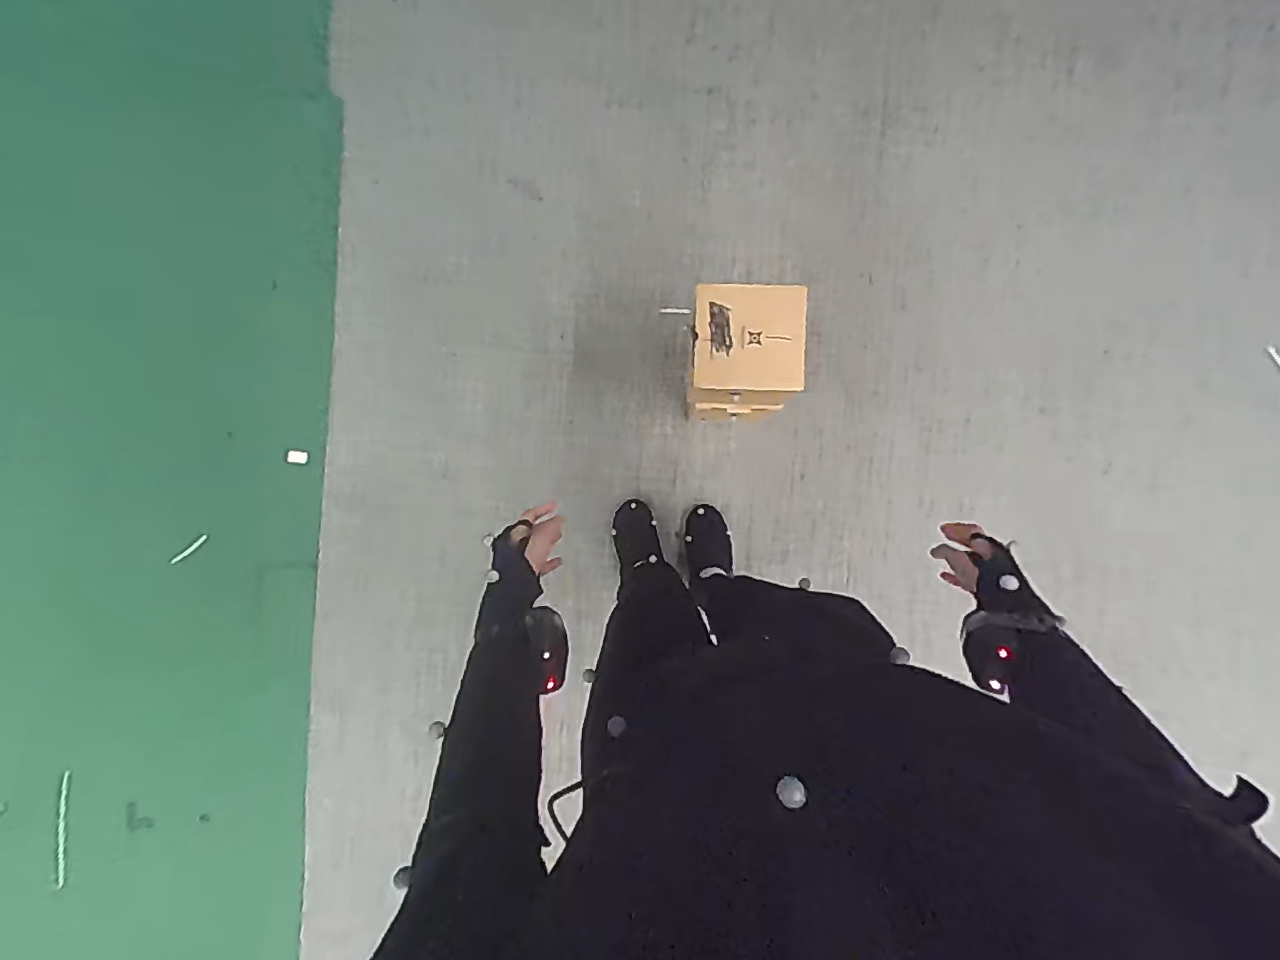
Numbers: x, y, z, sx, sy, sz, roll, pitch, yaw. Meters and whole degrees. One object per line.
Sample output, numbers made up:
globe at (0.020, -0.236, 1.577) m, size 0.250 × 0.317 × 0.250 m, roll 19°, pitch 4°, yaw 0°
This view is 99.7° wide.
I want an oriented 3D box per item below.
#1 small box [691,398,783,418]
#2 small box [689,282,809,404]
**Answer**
small box at (0.191, -0.218, 1.081) m, size 0.168 × 0.176 × 0.179 m, roll 2°, pitch 91°, yaw 2°
small box at (0.174, -0.222, 0.916) m, size 0.179 × 0.176 × 0.168 m, roll 2°, pitch 90°, yaw 2°
